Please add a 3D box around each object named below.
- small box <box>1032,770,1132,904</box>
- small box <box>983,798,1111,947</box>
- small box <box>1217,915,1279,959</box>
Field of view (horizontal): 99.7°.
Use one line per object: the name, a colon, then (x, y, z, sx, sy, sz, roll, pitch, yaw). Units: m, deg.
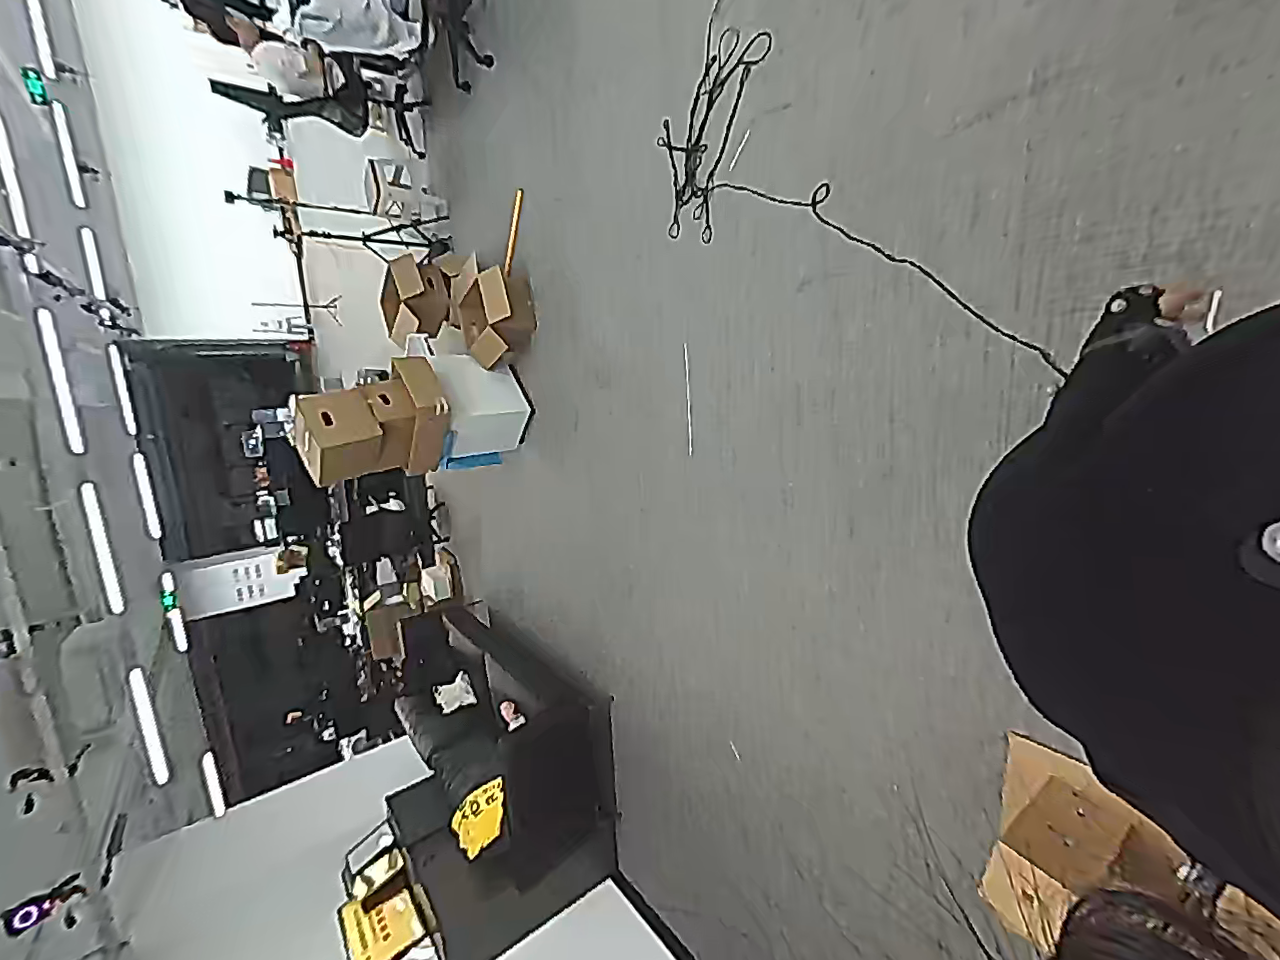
small box: (1.046, 0.847, 1.304, 0.168, 0.176, 0.179, 23, 118, 50)
small box: (0.912, 0.868, 1.212, 0.168, 0.176, 0.179, 26, 119, 48)
small box: (1.124, 0.927, 0.942, 0.168, 0.176, 0.179, 23, 118, 50)
